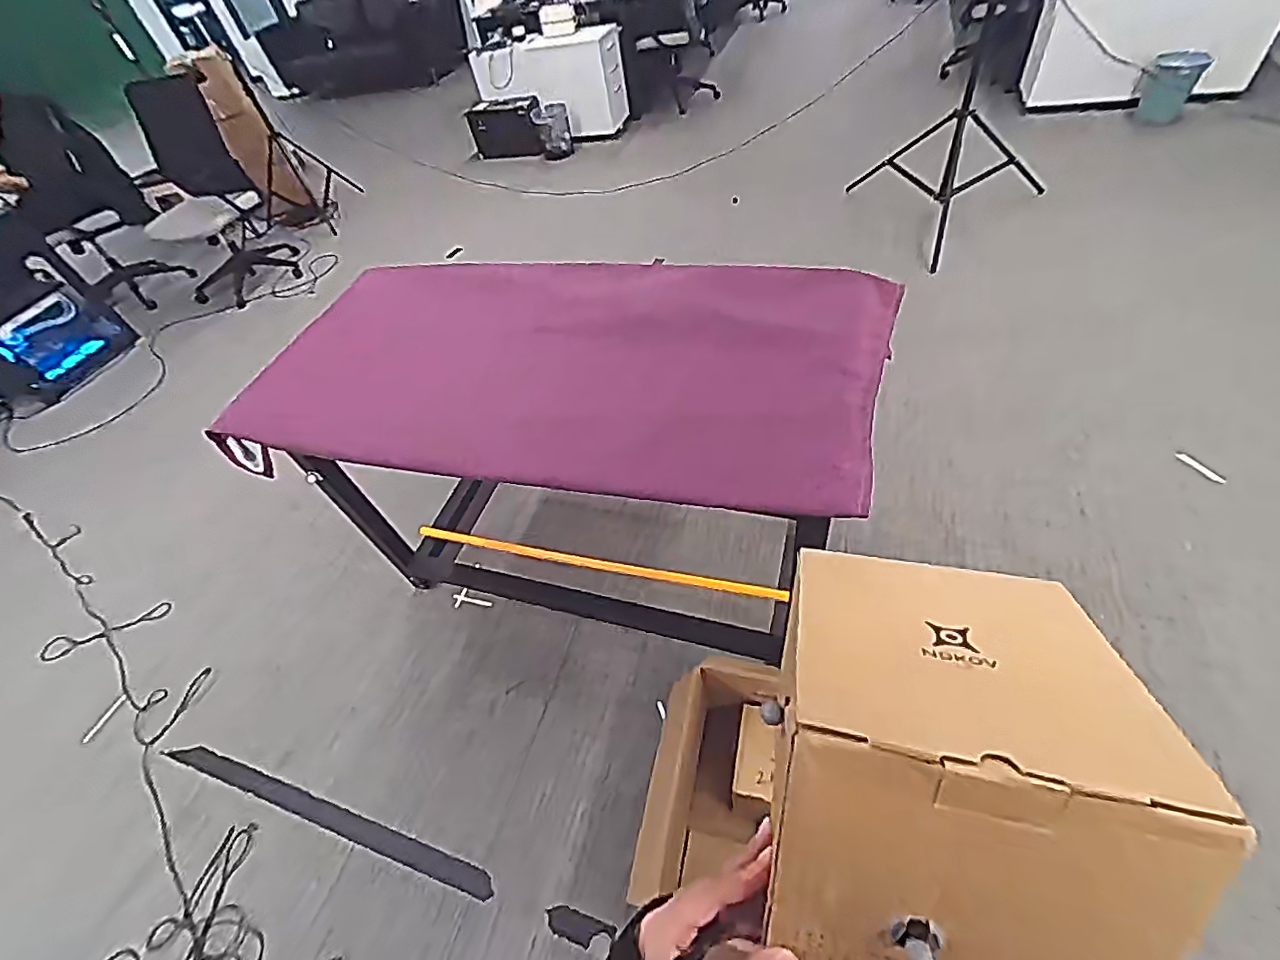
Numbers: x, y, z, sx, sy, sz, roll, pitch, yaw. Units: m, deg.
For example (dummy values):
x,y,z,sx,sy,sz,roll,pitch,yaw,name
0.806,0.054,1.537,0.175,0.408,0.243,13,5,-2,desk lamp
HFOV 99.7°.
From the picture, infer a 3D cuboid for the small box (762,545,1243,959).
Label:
x,y,z,sx,sy,sz,roll,pitch,yaw,name
0.166,0.161,0.322,0.168,0.176,0.179,6,23,15,small box
